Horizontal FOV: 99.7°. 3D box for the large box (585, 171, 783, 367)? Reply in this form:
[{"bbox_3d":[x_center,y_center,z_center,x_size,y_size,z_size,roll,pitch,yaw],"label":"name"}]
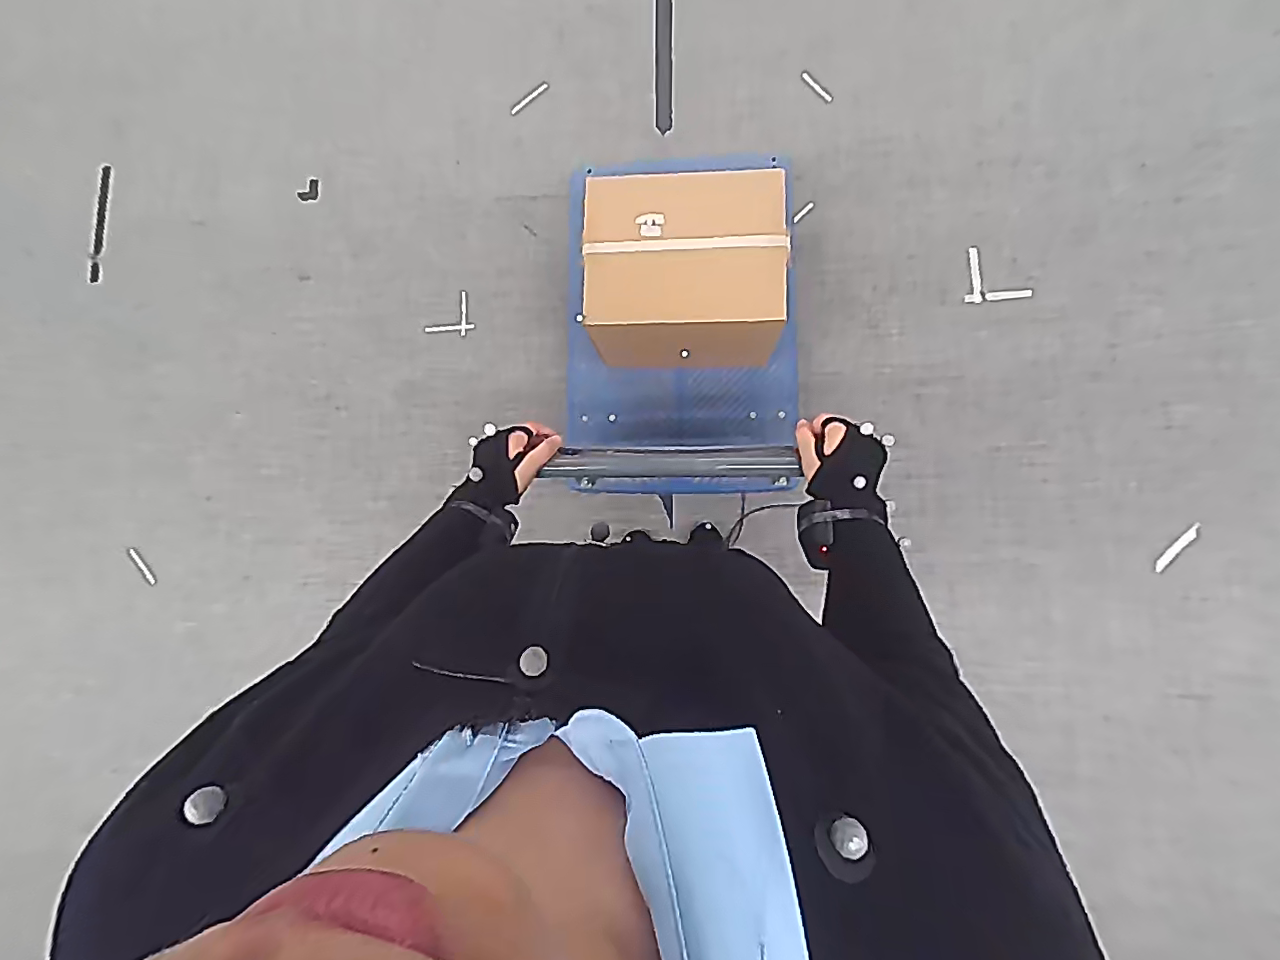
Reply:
[{"bbox_3d":[0.102,-0.454,1.242,0.408,0.320,0.320,0,84,7],"label":"large box"}]
